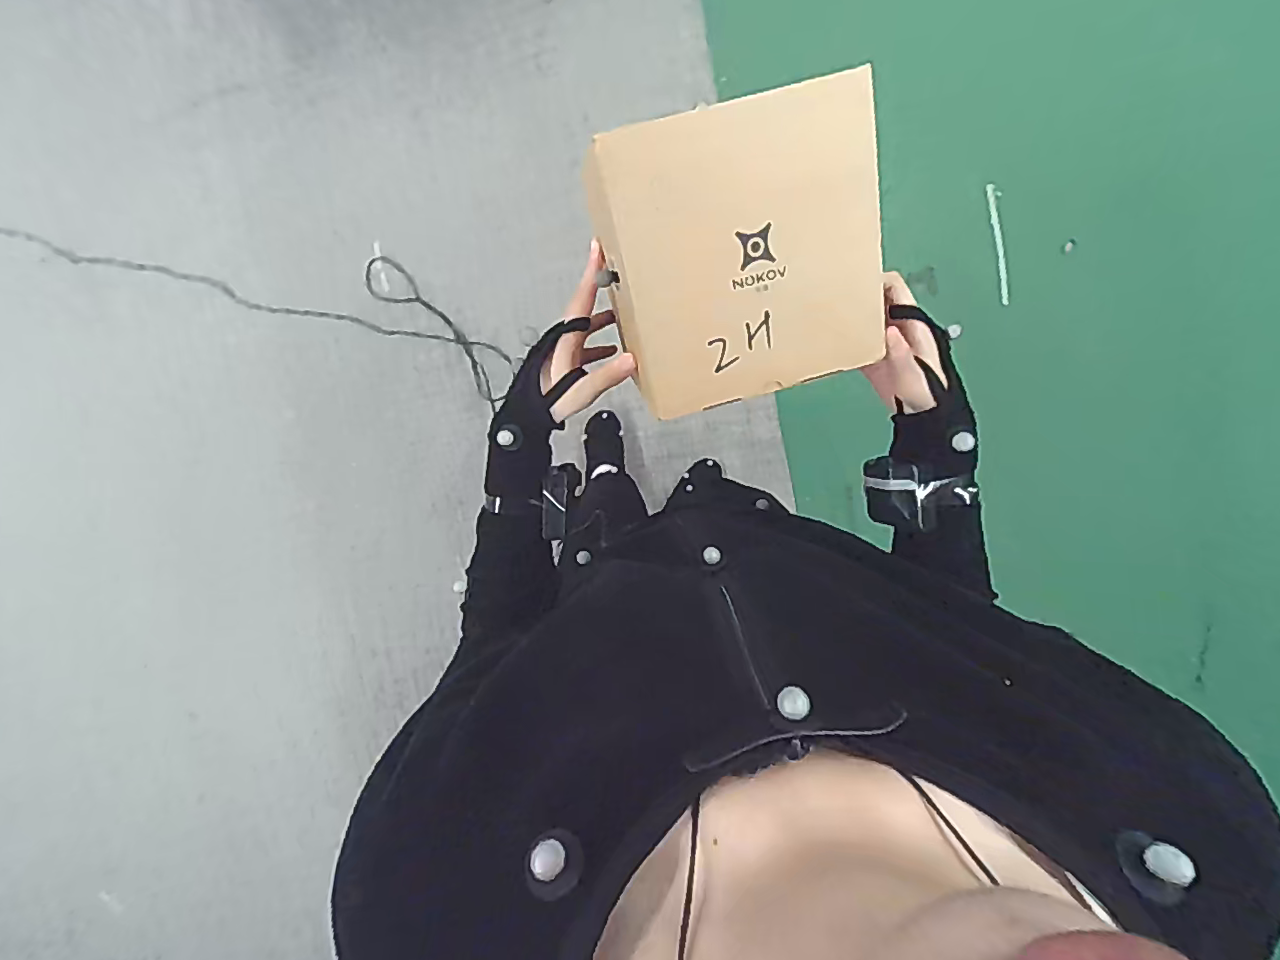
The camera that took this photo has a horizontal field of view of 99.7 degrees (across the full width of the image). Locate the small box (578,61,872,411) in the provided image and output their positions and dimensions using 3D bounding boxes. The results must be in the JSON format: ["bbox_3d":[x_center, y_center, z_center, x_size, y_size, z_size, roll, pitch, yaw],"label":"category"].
[{"bbox_3d":[0.053,-0.175,0.415,0.168,0.176,0.179,-16,115,-1],"label":"small box"}]
